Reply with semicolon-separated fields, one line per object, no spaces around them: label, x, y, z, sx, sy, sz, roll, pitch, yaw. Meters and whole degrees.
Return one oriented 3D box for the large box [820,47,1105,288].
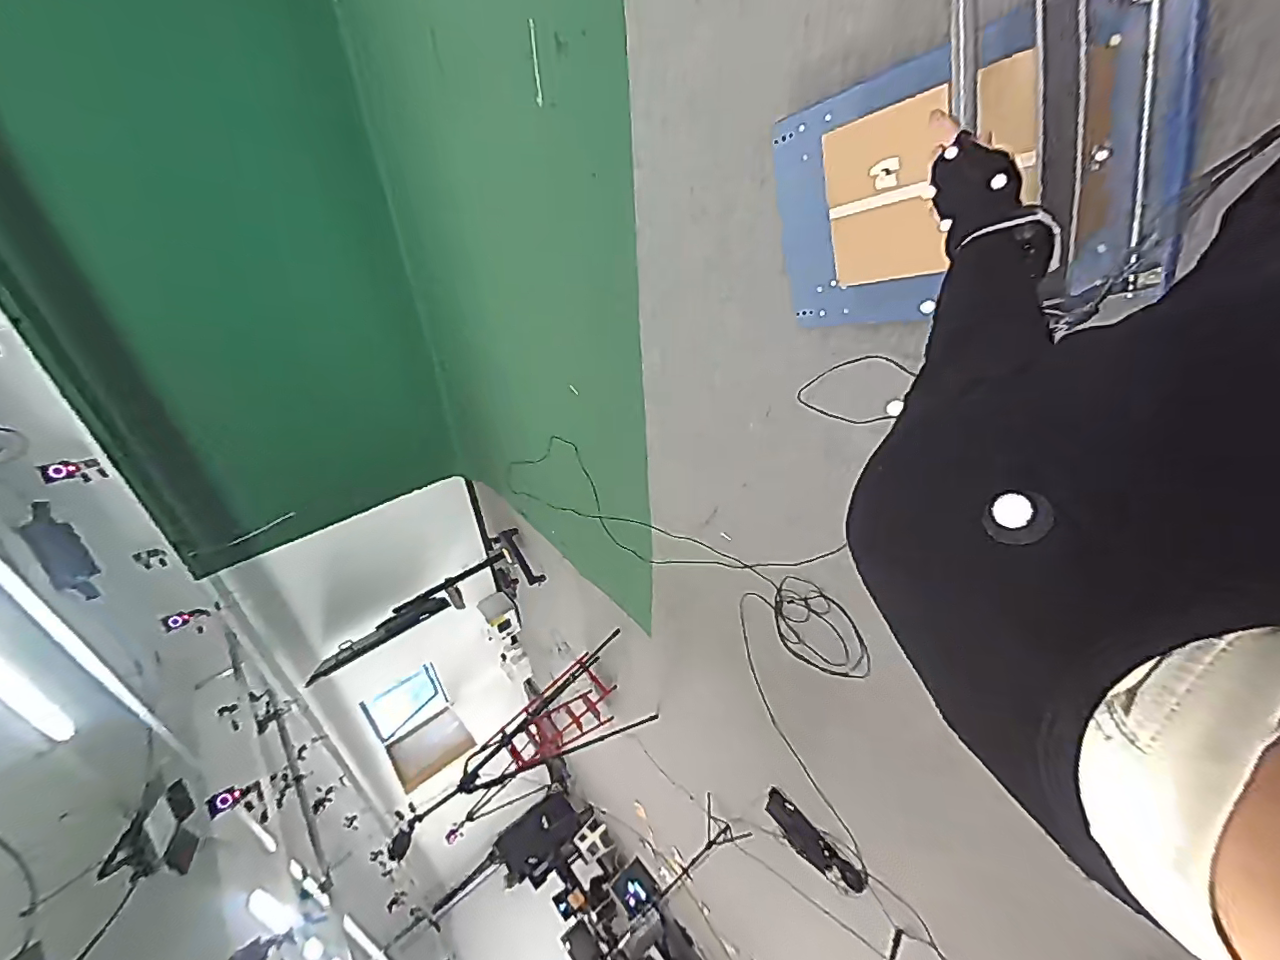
large box;0.645;-0.610;1.102;0.408;0.320;0.320;14;124;52
